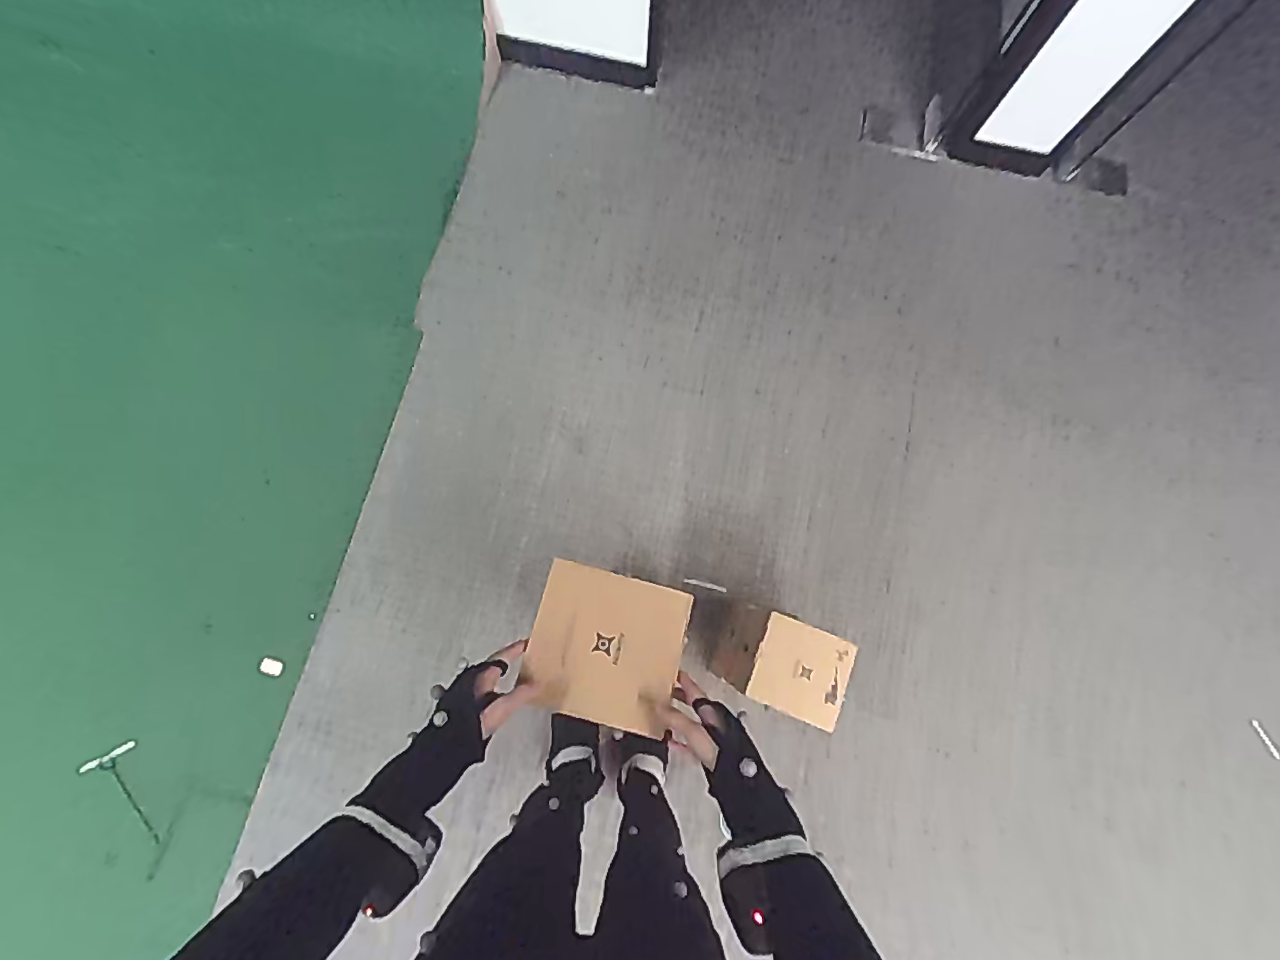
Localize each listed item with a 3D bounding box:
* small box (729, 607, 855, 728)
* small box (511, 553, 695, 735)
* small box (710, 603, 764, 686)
[{"bbox_3d":[0.291,0.364,1.074,0.179,0.176,0.168,22,78,4],"label":"small box"},{"bbox_3d":[-0.045,0.208,0.692,0.179,0.176,0.168,15,69,1],"label":"small box"},{"bbox_3d":[0.272,0.392,1.235,0.168,0.176,0.179,22,78,3],"label":"small box"}]
